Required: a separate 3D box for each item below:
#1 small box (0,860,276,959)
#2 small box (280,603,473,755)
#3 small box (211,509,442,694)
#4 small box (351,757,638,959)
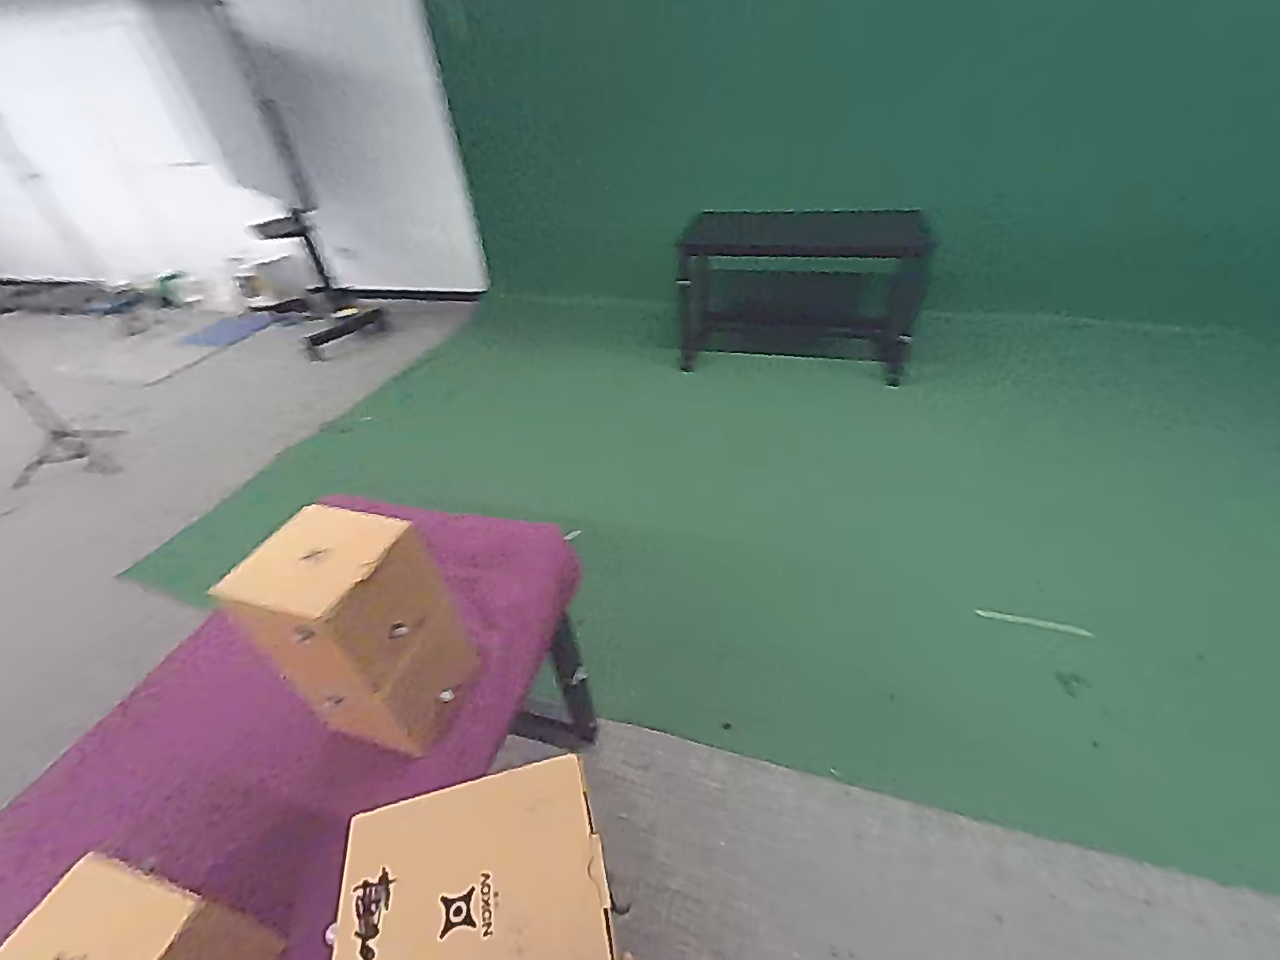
[{"bbox_3d":[-0.530,0.527,0.546,0.179,0.176,0.168,5,40,15],"label":"small box"},{"bbox_3d":[-0.388,0.291,0.830,0.179,0.176,0.168,7,40,16],"label":"small box"},{"bbox_3d":[-0.405,0.163,0.732,0.179,0.176,0.168,7,40,16],"label":"small box"},{"bbox_3d":[-0.096,0.345,0.406,0.179,0.176,0.168,-9,38,-10],"label":"small box"}]
